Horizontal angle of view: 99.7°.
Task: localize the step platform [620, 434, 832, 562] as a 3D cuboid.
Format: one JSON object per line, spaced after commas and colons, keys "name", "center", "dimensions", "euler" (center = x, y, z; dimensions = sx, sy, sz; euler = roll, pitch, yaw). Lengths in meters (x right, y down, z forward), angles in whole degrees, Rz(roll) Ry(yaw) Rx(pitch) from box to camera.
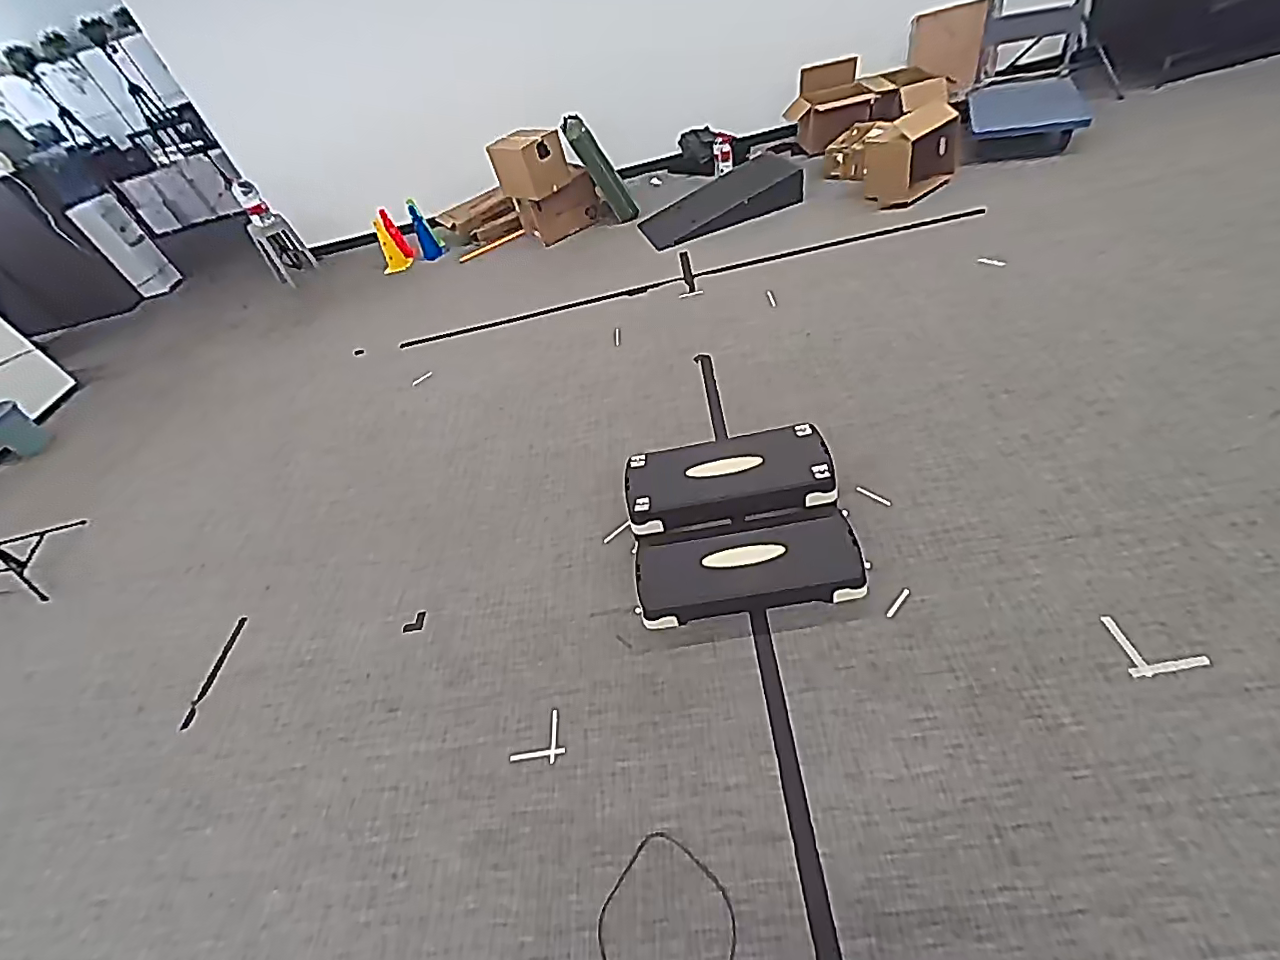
{"name": "step platform", "center": [0.274, 0.057, 1.805], "dimensions": [0.684, 0.204, 0.286], "euler": [-11, 46, 5]}
